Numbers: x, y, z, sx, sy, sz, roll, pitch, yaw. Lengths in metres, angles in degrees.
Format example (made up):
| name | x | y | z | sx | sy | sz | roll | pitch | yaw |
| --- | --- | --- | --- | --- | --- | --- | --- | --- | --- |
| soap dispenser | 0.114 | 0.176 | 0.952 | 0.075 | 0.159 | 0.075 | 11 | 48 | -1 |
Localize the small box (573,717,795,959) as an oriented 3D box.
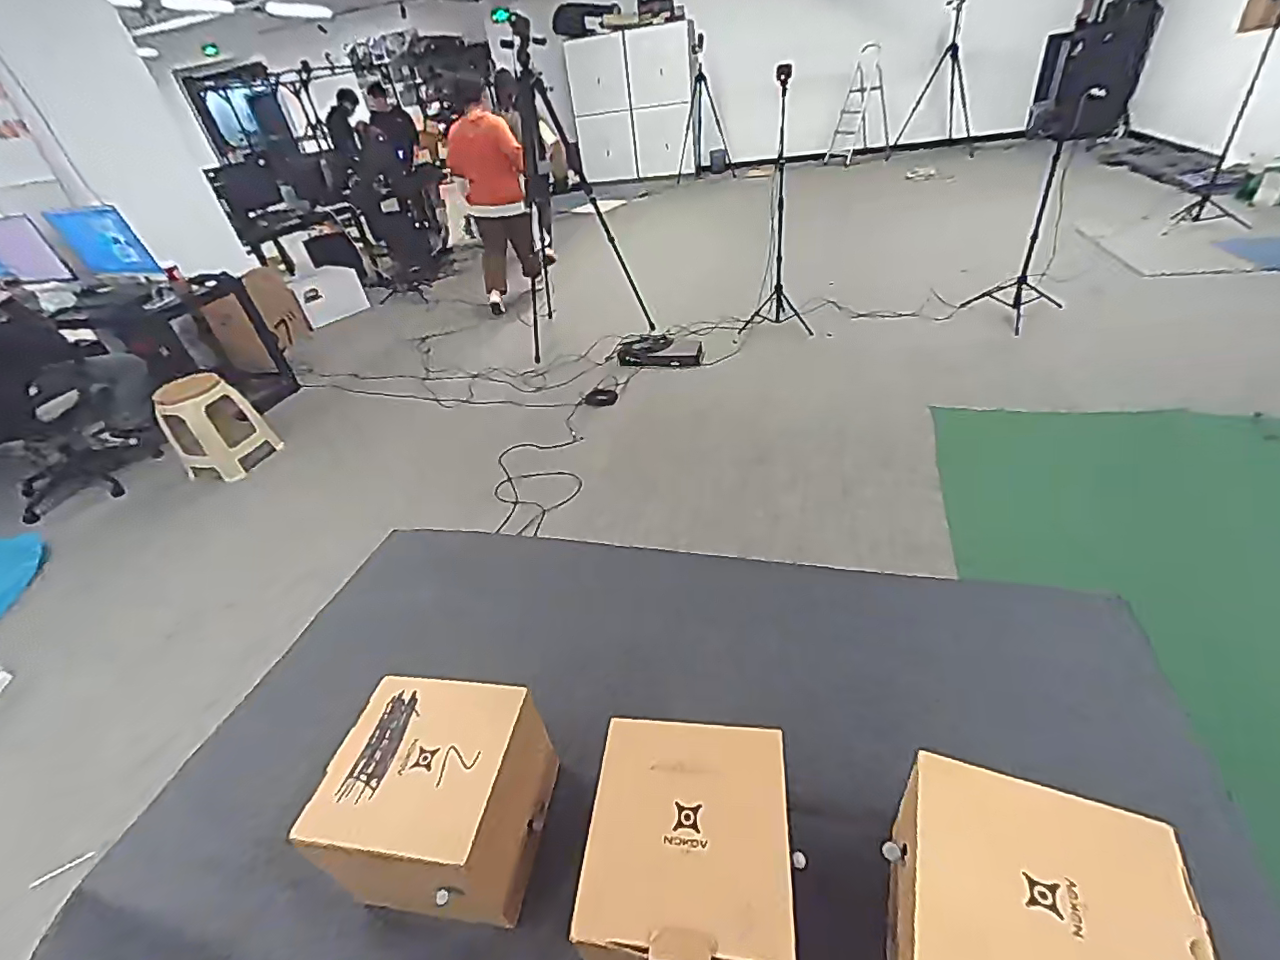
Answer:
| name | x | y | z | sx | sy | sz | roll | pitch | yaw |
| --- | --- | --- | --- | --- | --- | --- | --- | --- | --- |
| small box | 0.050 | 0.349 | 0.499 | 0.168 | 0.176 | 0.179 | 0 | 36 | 10 |
